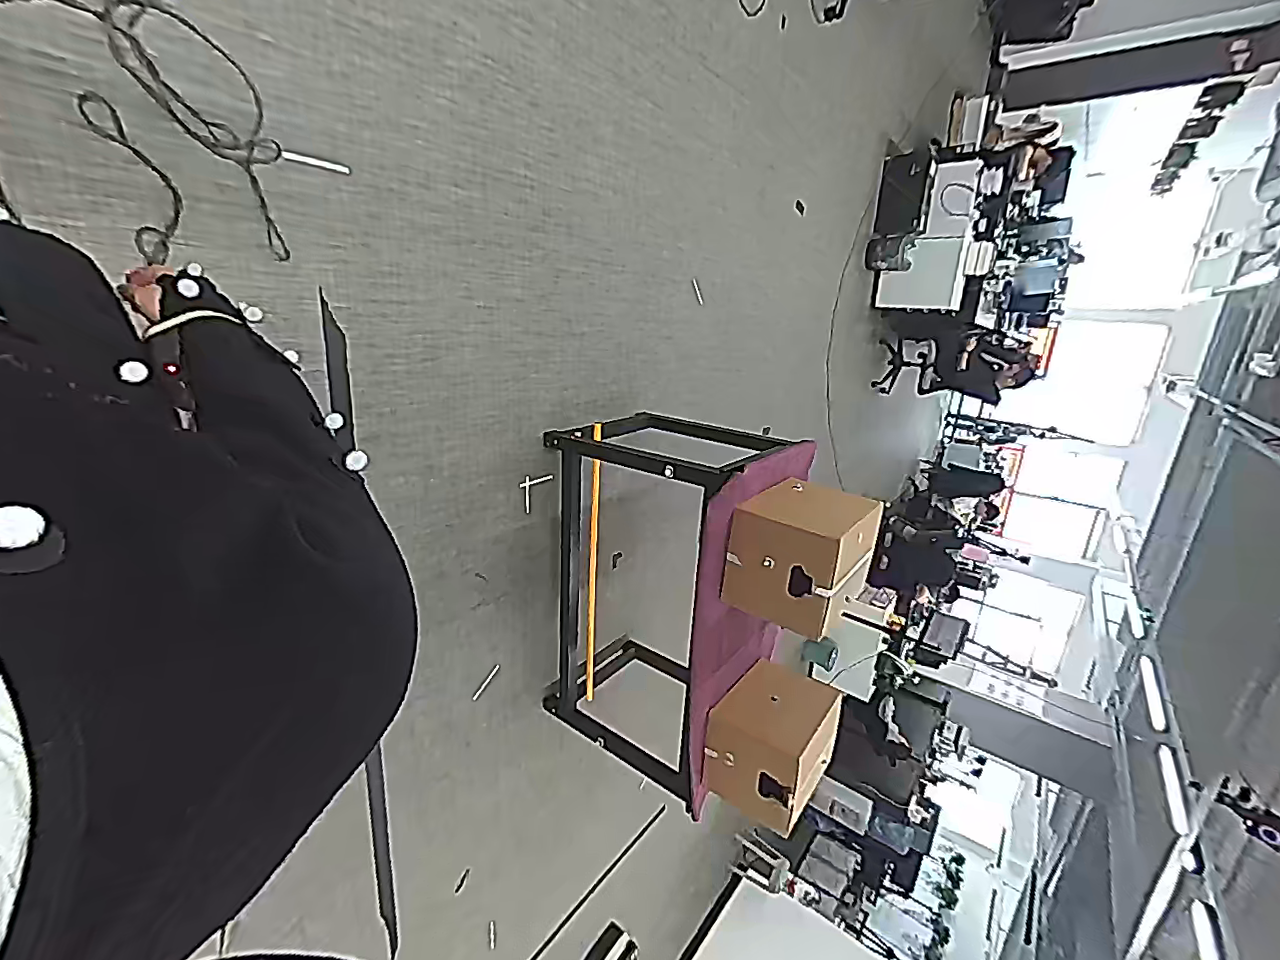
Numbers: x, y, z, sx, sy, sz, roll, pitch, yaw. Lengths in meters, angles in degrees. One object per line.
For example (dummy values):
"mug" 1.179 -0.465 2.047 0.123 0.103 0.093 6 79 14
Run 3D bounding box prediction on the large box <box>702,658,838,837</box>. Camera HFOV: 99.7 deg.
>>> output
"large box" 0.444 0.882 1.847 0.408 0.320 0.320 -20 119 -51
